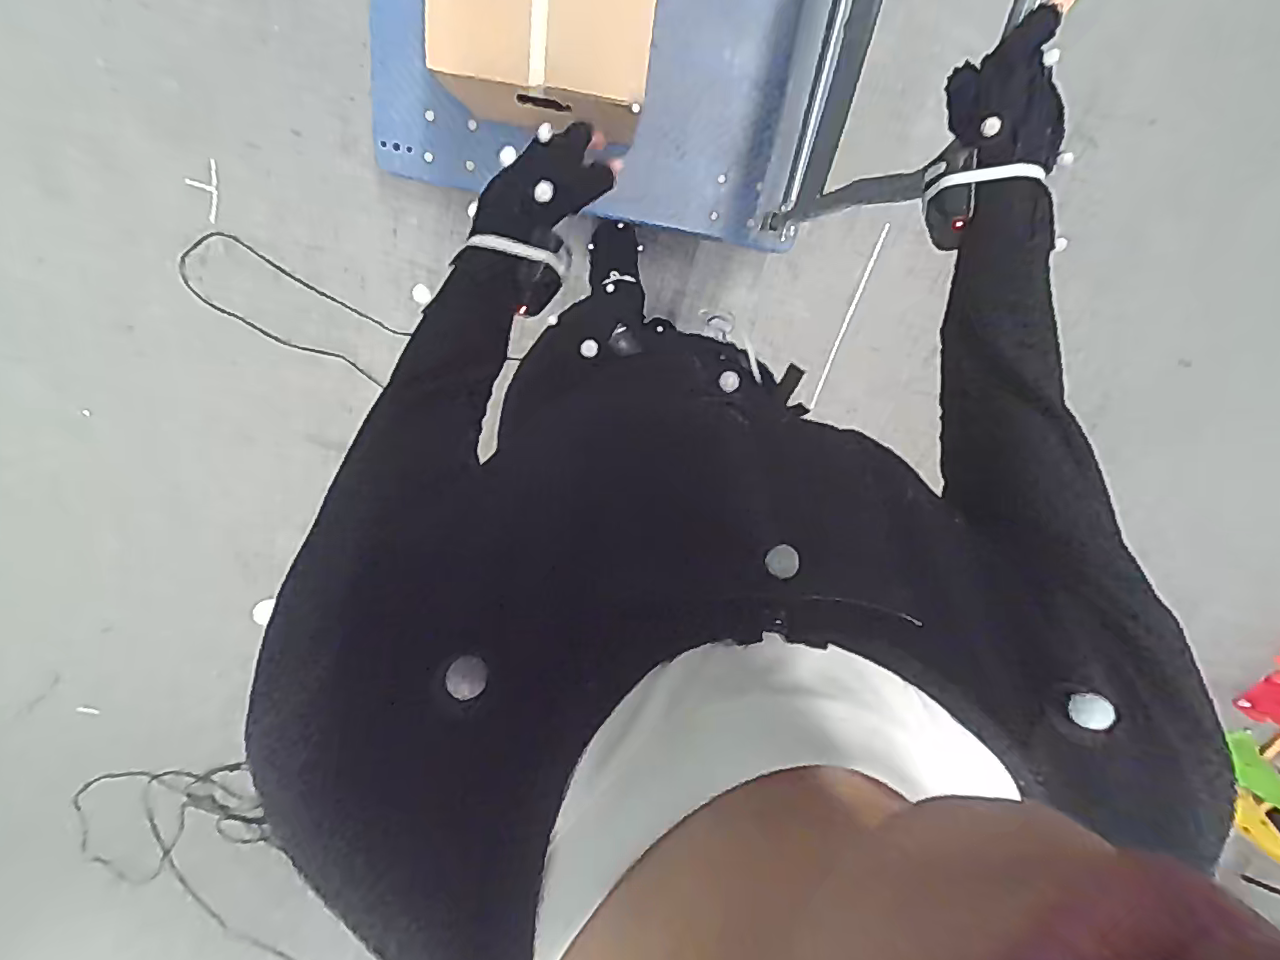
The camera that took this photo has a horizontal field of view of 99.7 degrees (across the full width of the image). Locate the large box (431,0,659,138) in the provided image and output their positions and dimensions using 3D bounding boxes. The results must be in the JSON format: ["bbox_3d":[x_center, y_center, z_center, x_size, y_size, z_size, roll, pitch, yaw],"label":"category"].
[{"bbox_3d":[-0.125,-0.810,0.840,0.320,0.320,0.408,7,113,-4],"label":"large box"}]
